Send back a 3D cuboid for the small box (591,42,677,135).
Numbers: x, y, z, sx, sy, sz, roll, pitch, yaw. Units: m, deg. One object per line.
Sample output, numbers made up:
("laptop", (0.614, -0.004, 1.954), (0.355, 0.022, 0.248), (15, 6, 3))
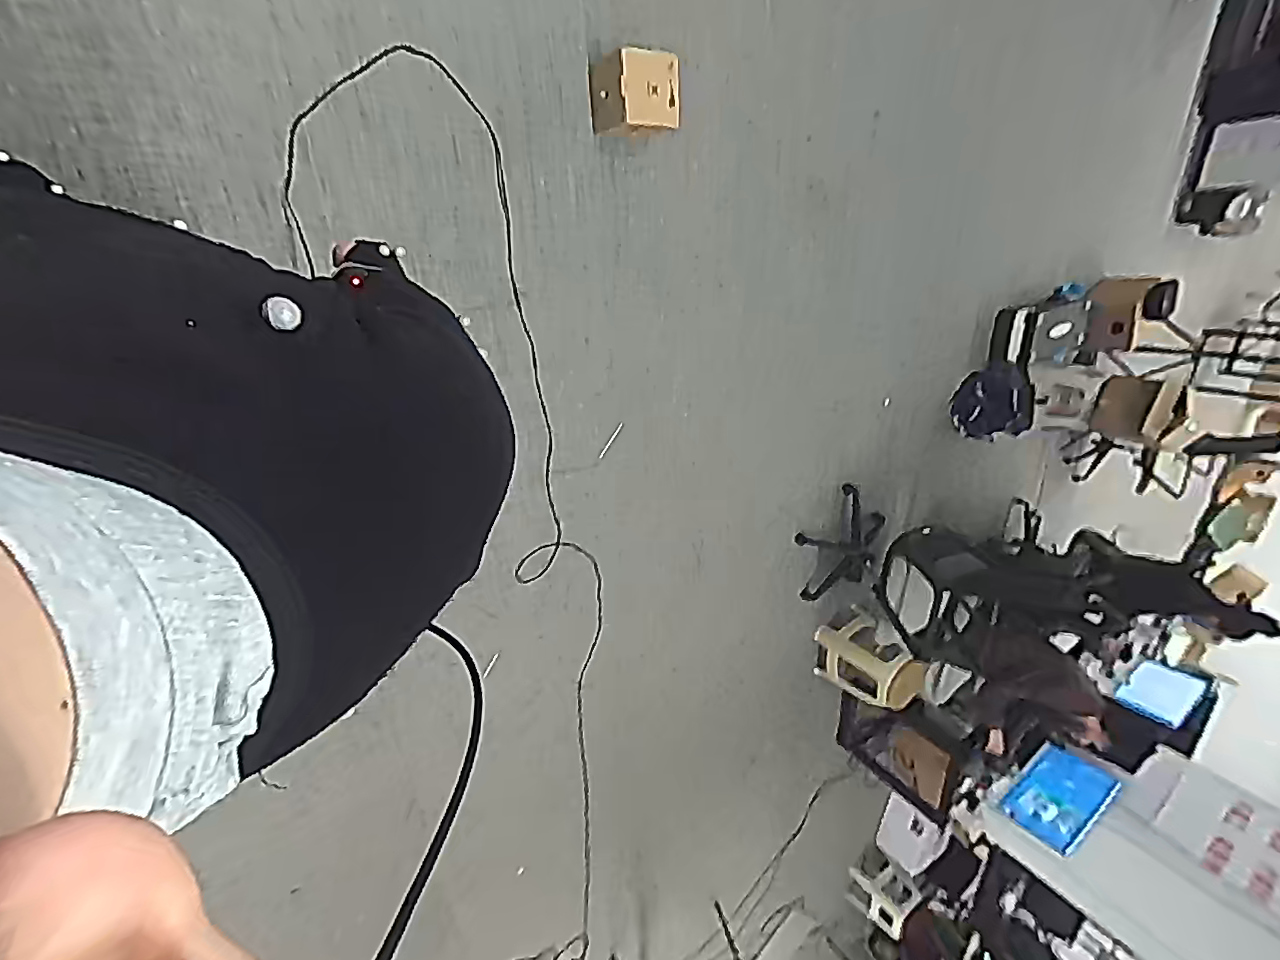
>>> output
("small box", (-0.022, -1.048, 1.462), (0.179, 0.176, 0.168), (-17, 116, -28))
